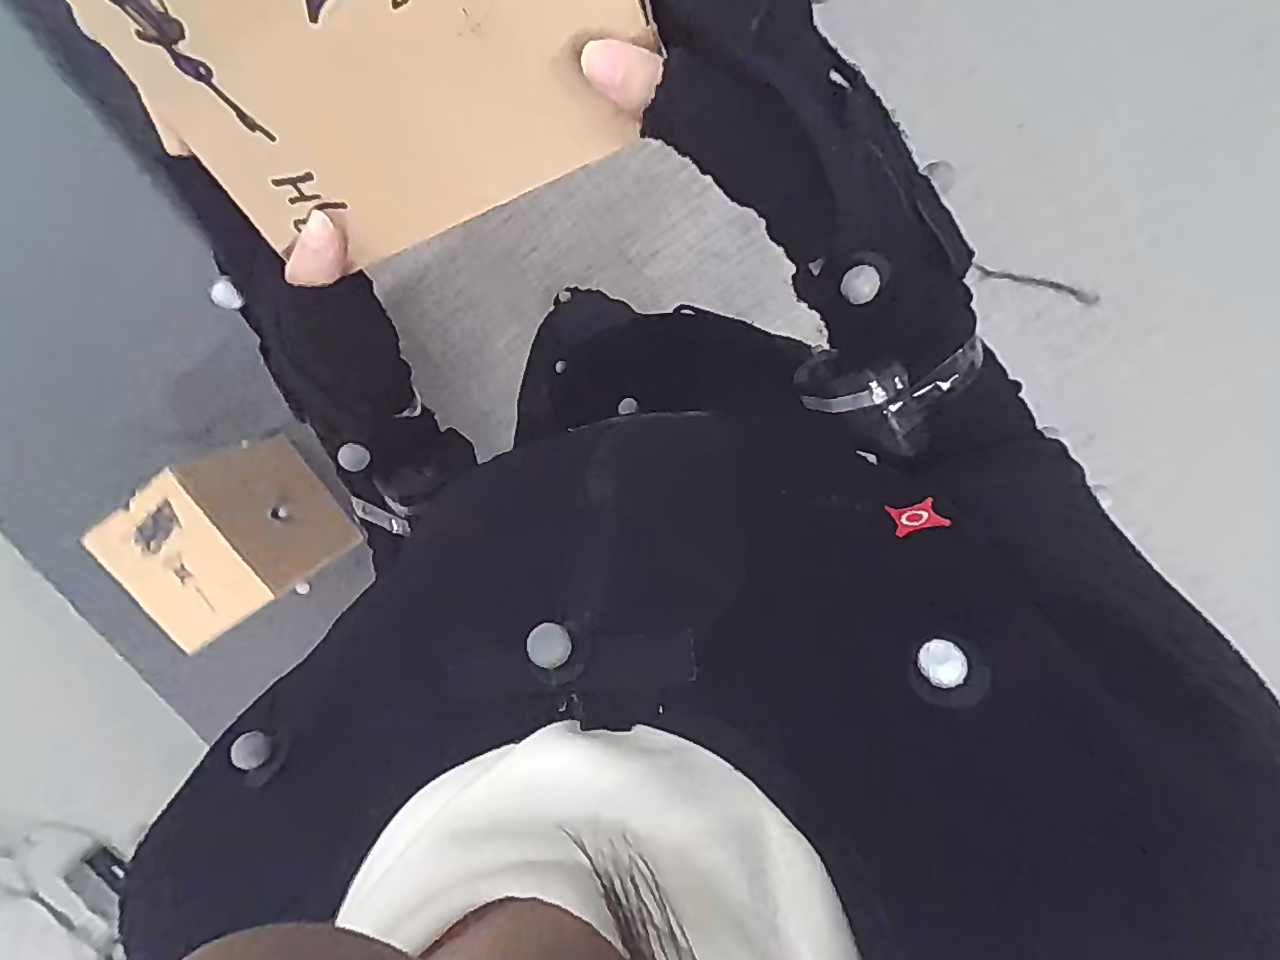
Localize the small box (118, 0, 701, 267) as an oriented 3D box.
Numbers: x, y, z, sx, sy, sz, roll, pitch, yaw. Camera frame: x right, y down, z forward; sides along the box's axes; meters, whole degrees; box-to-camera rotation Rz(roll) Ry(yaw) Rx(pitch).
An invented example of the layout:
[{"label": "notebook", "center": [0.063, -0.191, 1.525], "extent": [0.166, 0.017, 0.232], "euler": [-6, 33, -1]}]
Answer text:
[{"label": "small box", "center": [-0.090, -0.225, 0.227], "extent": [0.179, 0.176, 0.168], "euler": [-17, 131, 9]}]

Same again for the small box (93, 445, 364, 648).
[{"label": "small box", "center": [-0.503, 0.070, 0.687], "extent": [0.168, 0.176, 0.179], "euler": [-31, 101, 16]}]
